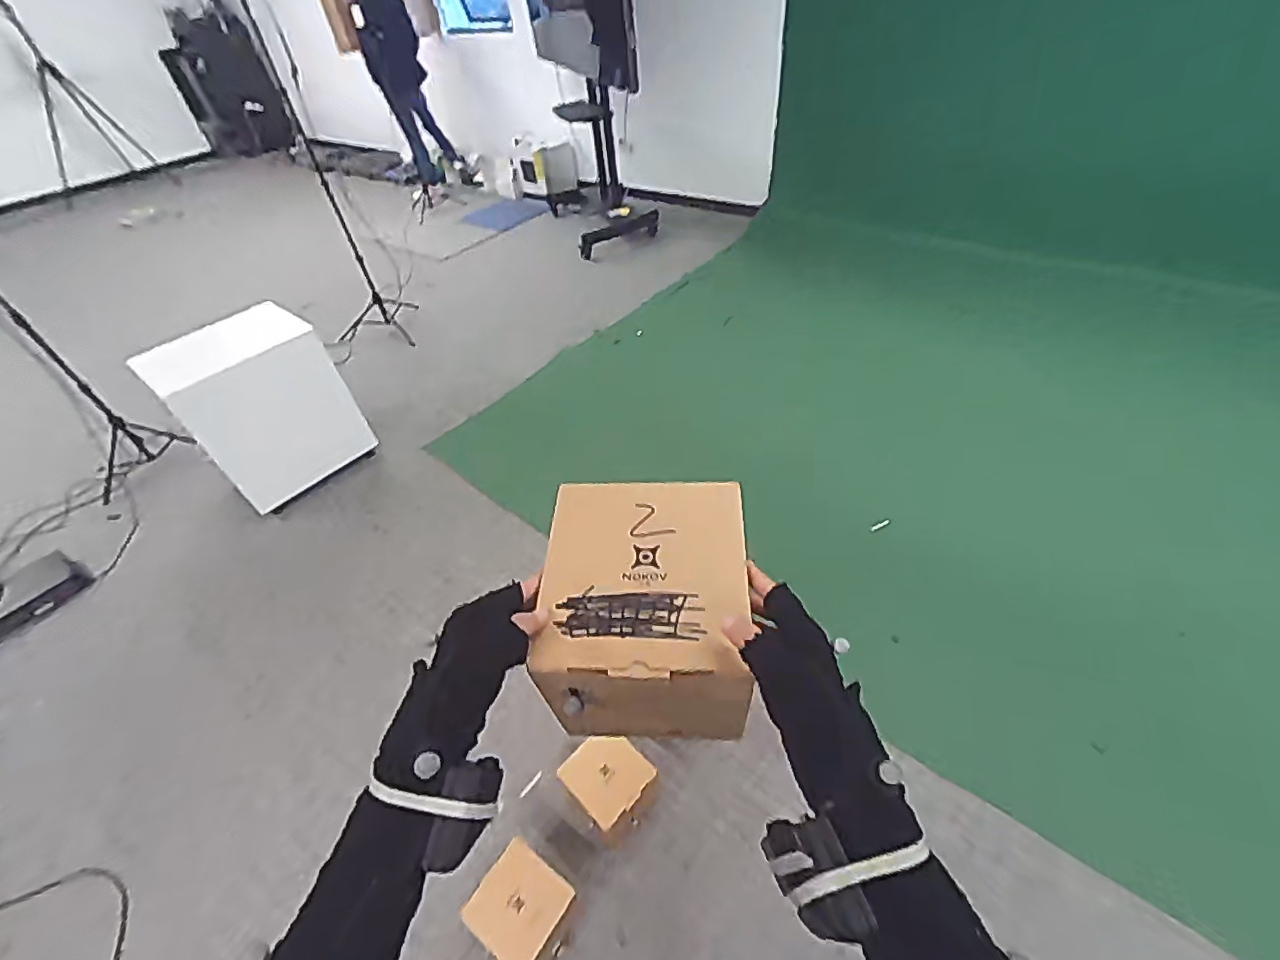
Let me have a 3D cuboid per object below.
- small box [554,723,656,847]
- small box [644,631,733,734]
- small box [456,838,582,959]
[{"bbox_3d":[-0.078,0.726,1.282,0.179,0.176,0.168,32,55,32],"label":"small box"},{"bbox_3d":[0.131,0.548,1.445,0.179,0.176,0.168,27,52,30],"label":"small box"},{"bbox_3d":[-0.242,0.896,1.123,0.179,0.176,0.168,25,53,25],"label":"small box"}]
